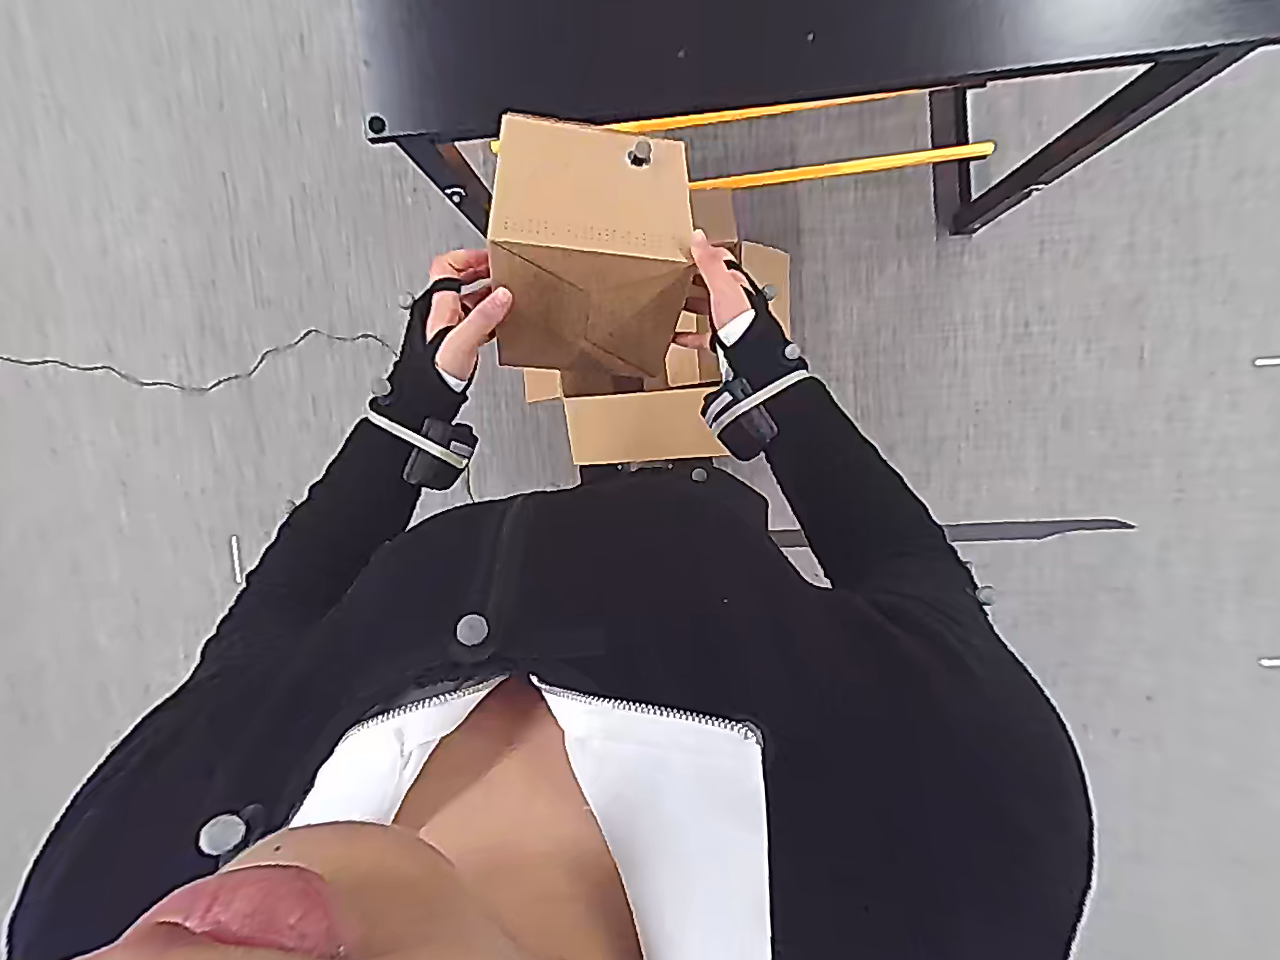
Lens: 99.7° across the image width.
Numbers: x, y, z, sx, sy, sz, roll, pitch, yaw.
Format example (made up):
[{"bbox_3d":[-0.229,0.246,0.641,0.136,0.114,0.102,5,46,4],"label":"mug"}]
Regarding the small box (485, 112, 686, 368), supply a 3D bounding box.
[{"bbox_3d":[-0.054,-0.228,0.549,0.179,0.168,0.176,2,65,-9],"label":"small box"}]
